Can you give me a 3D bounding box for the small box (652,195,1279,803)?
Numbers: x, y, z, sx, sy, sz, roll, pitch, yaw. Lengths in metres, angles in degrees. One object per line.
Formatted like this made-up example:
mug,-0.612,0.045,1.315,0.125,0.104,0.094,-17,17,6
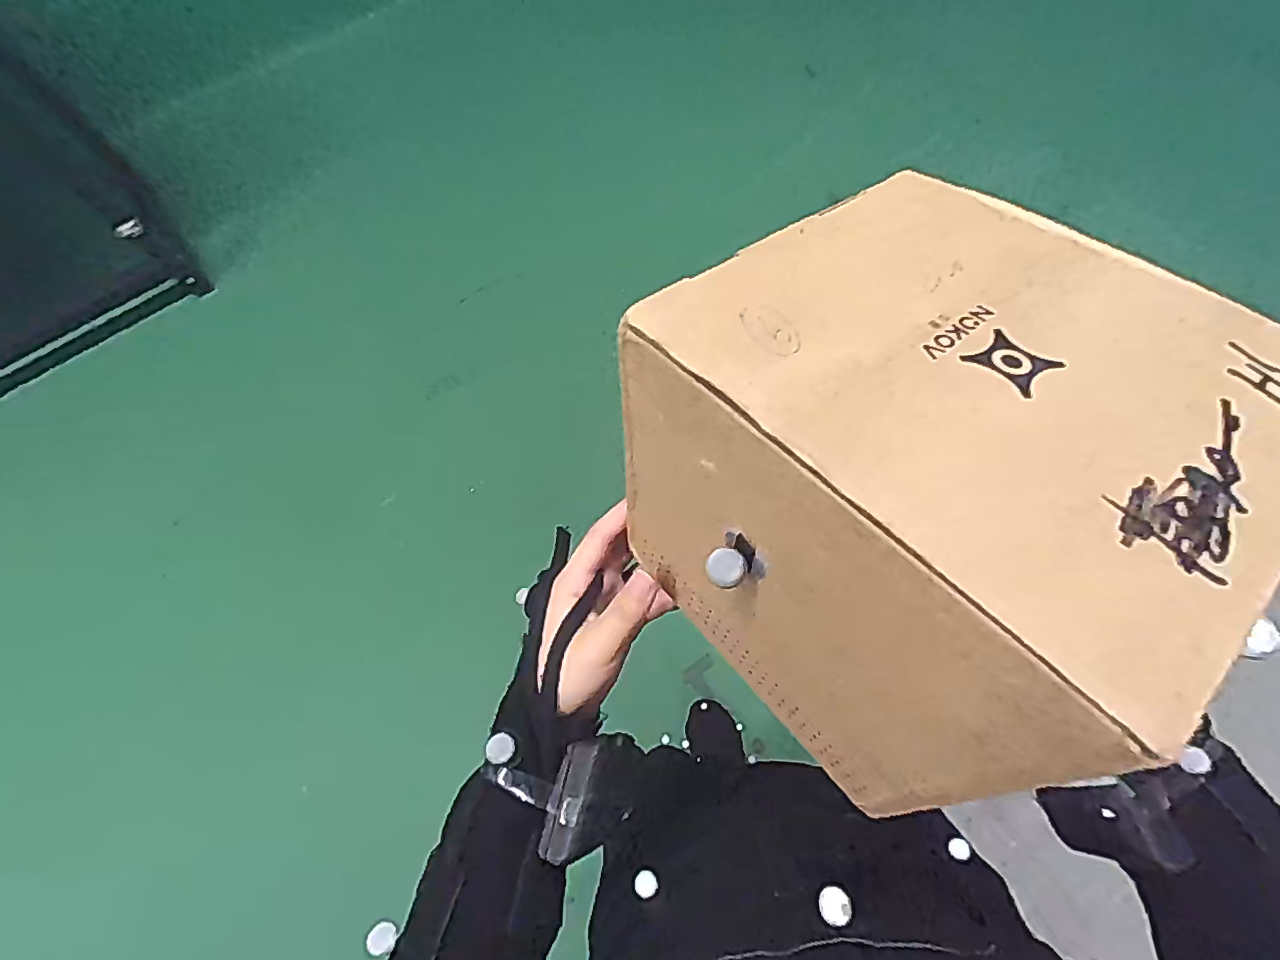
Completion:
small box,0.118,0.011,0.244,0.168,0.176,0.179,-34,61,-21
